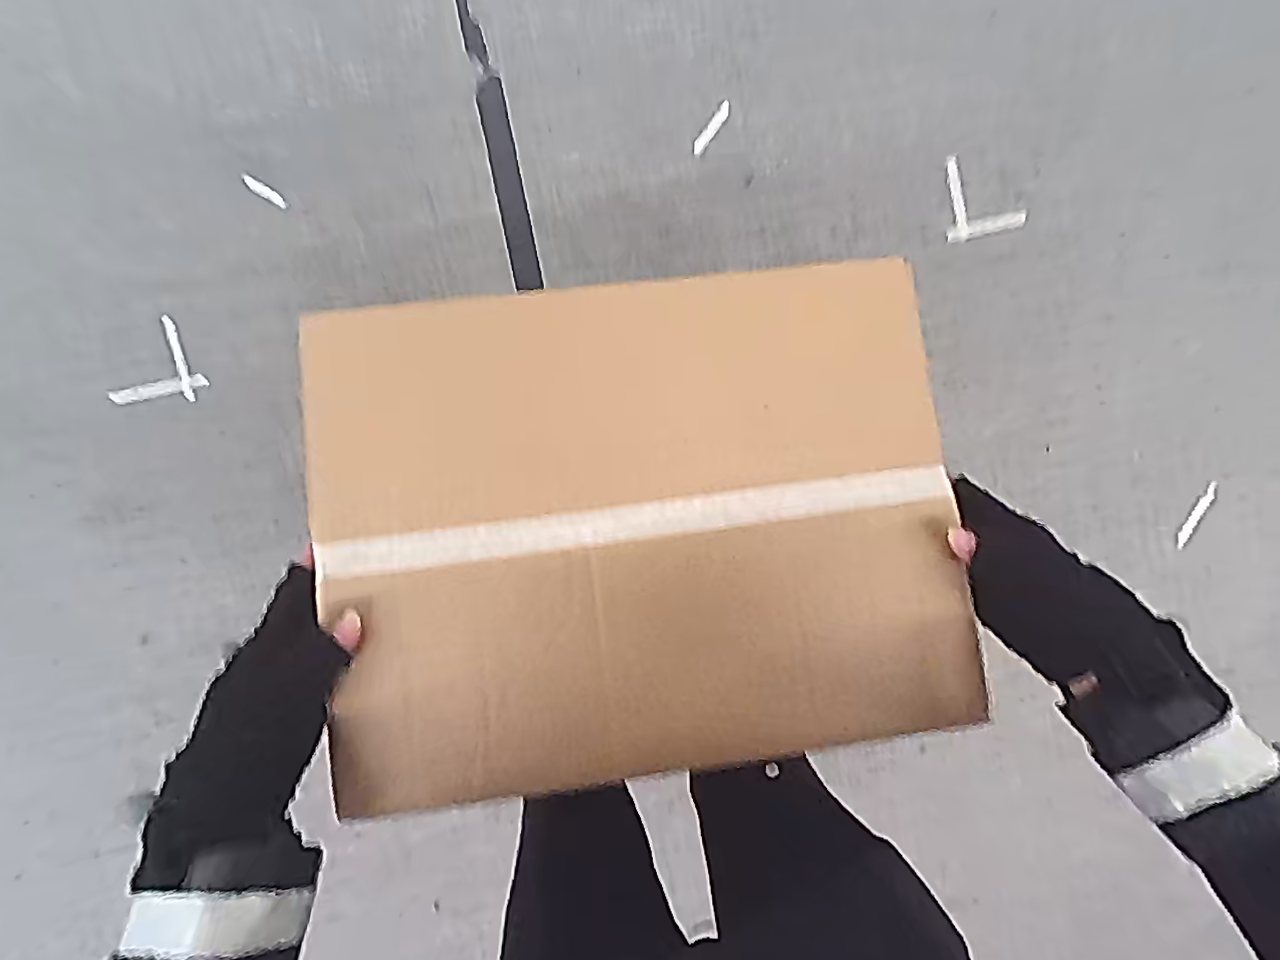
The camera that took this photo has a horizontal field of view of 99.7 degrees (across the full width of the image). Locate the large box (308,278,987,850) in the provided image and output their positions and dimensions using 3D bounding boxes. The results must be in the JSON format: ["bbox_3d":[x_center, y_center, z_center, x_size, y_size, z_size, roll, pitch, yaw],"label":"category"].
[{"bbox_3d":[-0.001,0.053,0.490,0.408,0.320,0.320,-7,84,-4],"label":"large box"}]
